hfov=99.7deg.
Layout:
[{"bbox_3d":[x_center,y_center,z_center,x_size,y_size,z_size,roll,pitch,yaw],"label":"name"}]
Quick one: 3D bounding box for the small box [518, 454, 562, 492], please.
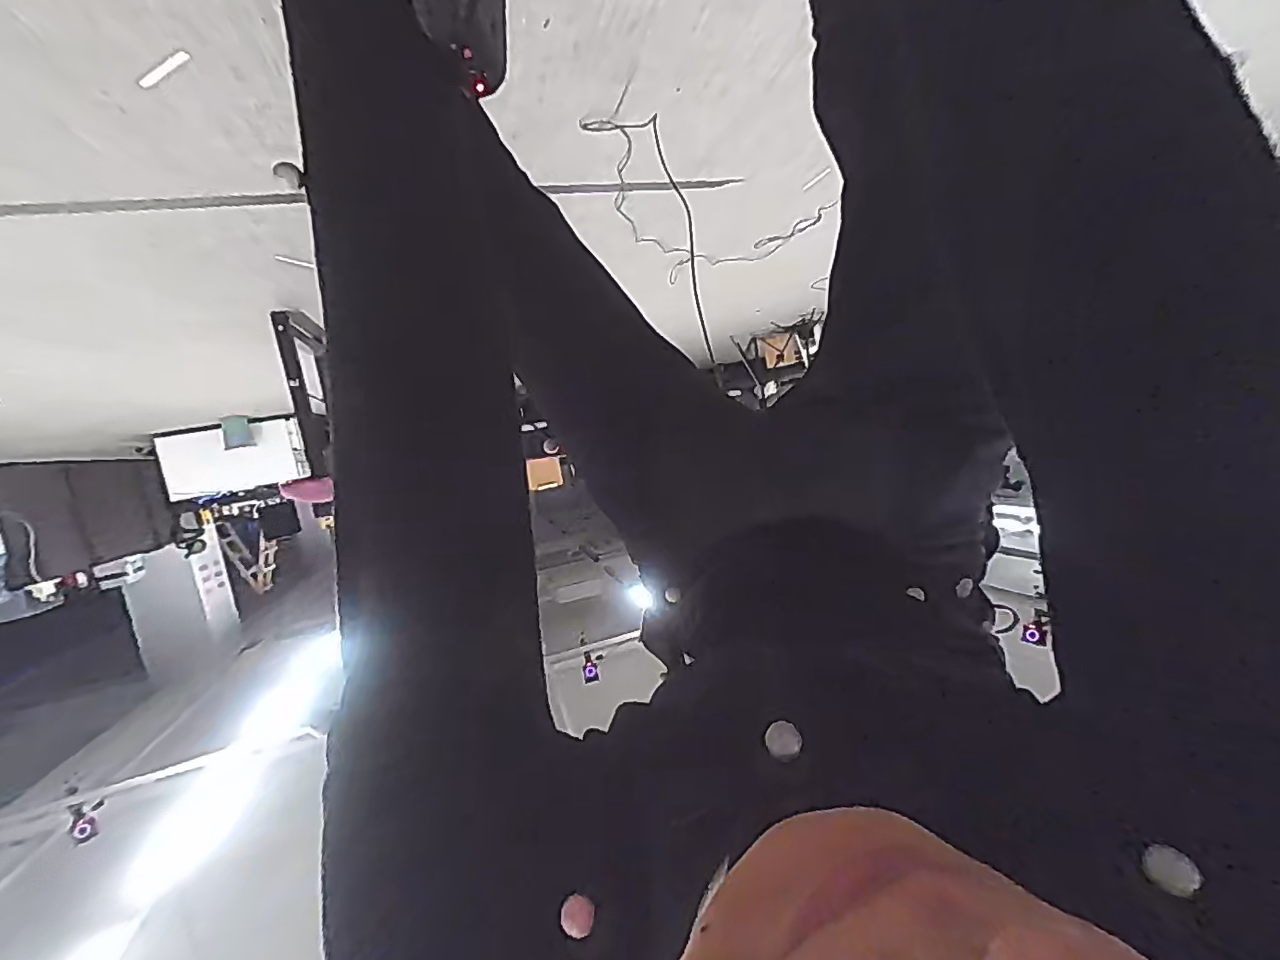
[{"bbox_3d":[-0.516,-0.040,2.772,0.168,0.176,0.179,-13,-174,-24],"label":"small box"}]
